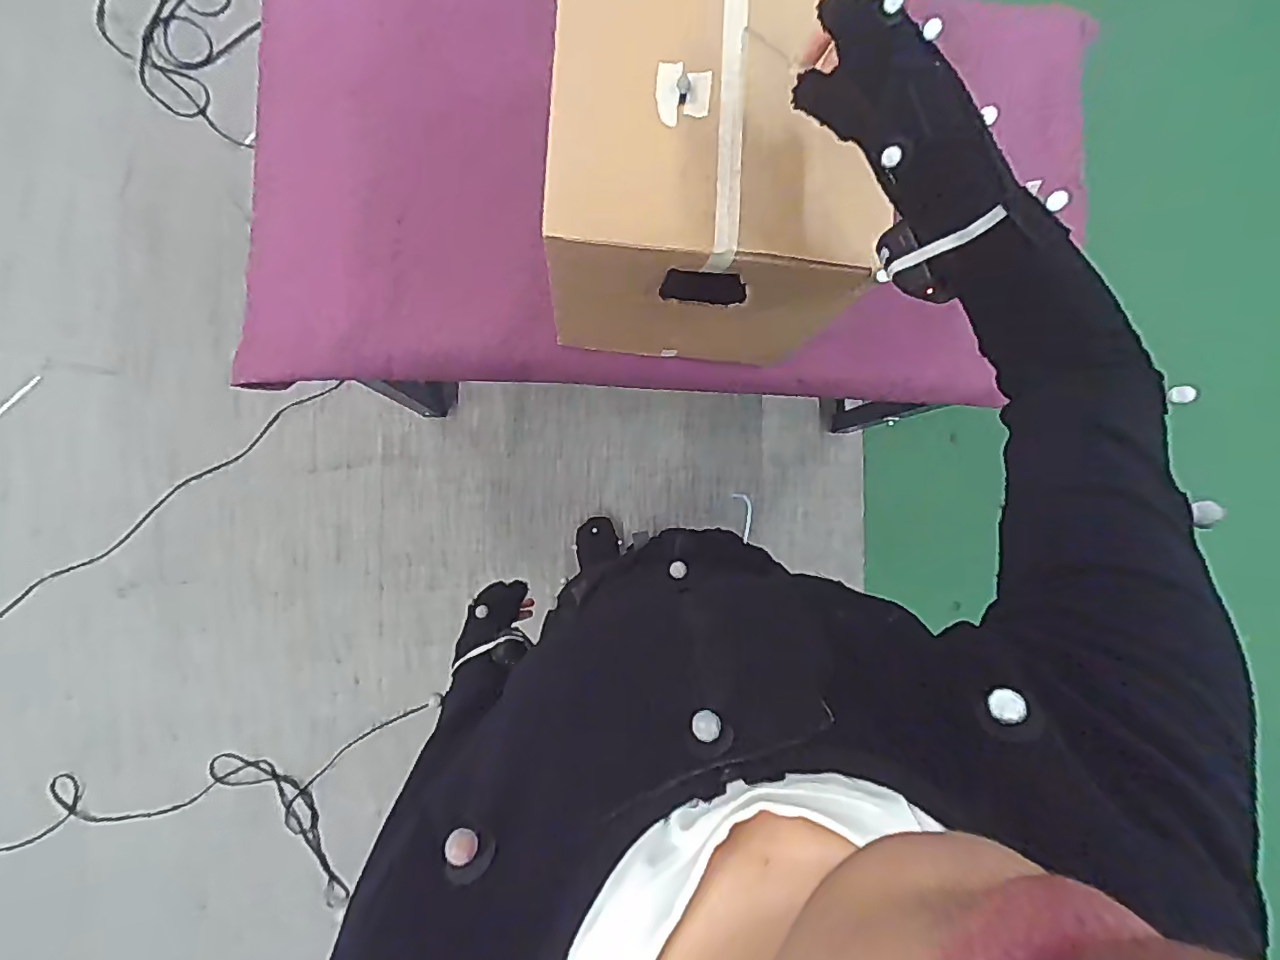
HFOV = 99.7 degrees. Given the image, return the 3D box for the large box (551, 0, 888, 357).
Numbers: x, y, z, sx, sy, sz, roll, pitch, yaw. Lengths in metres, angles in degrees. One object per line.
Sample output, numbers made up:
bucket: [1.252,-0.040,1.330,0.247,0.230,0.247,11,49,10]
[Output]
large box: [0.064,-0.394,0.644,0.320,0.320,0.408,4,87,-6]
